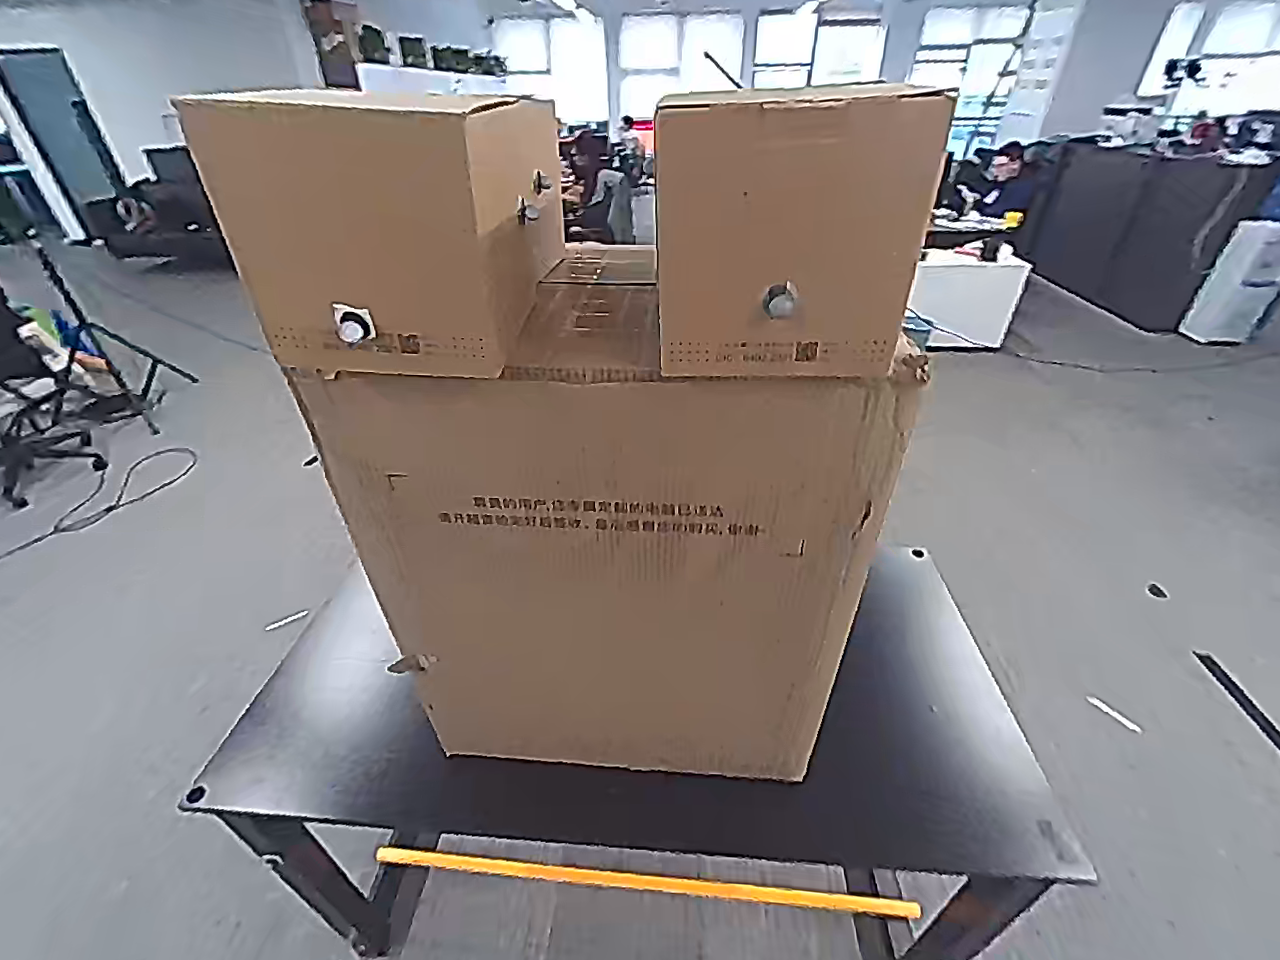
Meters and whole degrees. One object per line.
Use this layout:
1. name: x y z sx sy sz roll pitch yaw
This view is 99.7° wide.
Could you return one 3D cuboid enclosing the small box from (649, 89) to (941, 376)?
1. small box: 0.097 -0.194 0.420 0.168 0.176 0.179 0 37 6
